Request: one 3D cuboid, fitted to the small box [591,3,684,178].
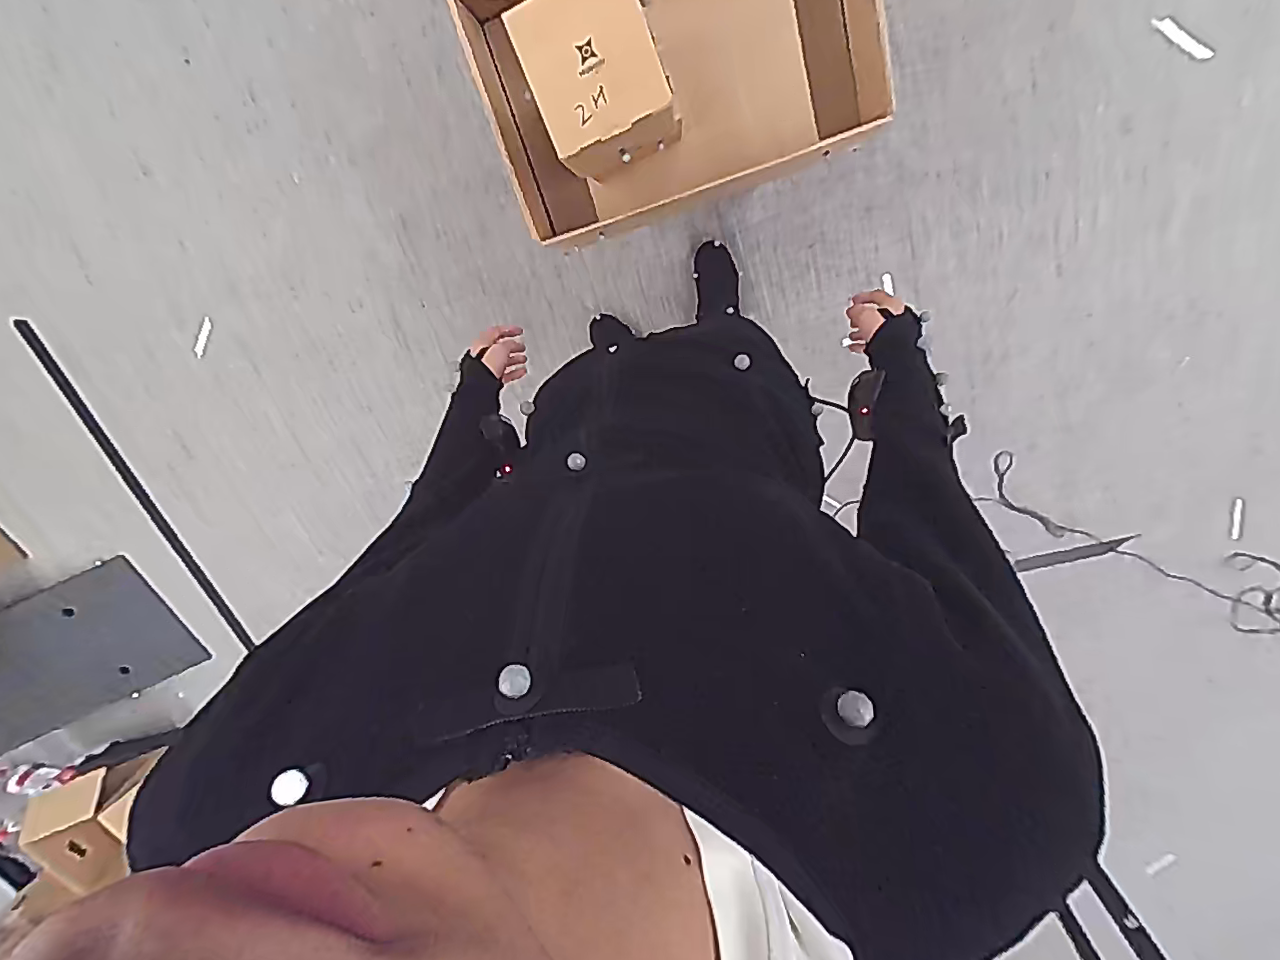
[{"bbox_3d":[-0.038,-0.631,0.899,0.179,0.176,0.168,-22,109,13],"label":"small box"}]

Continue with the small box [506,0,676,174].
[{"bbox_3d":[-0.056,-0.560,0.752,0.168,0.176,0.179,-20,110,12],"label":"small box"}]
